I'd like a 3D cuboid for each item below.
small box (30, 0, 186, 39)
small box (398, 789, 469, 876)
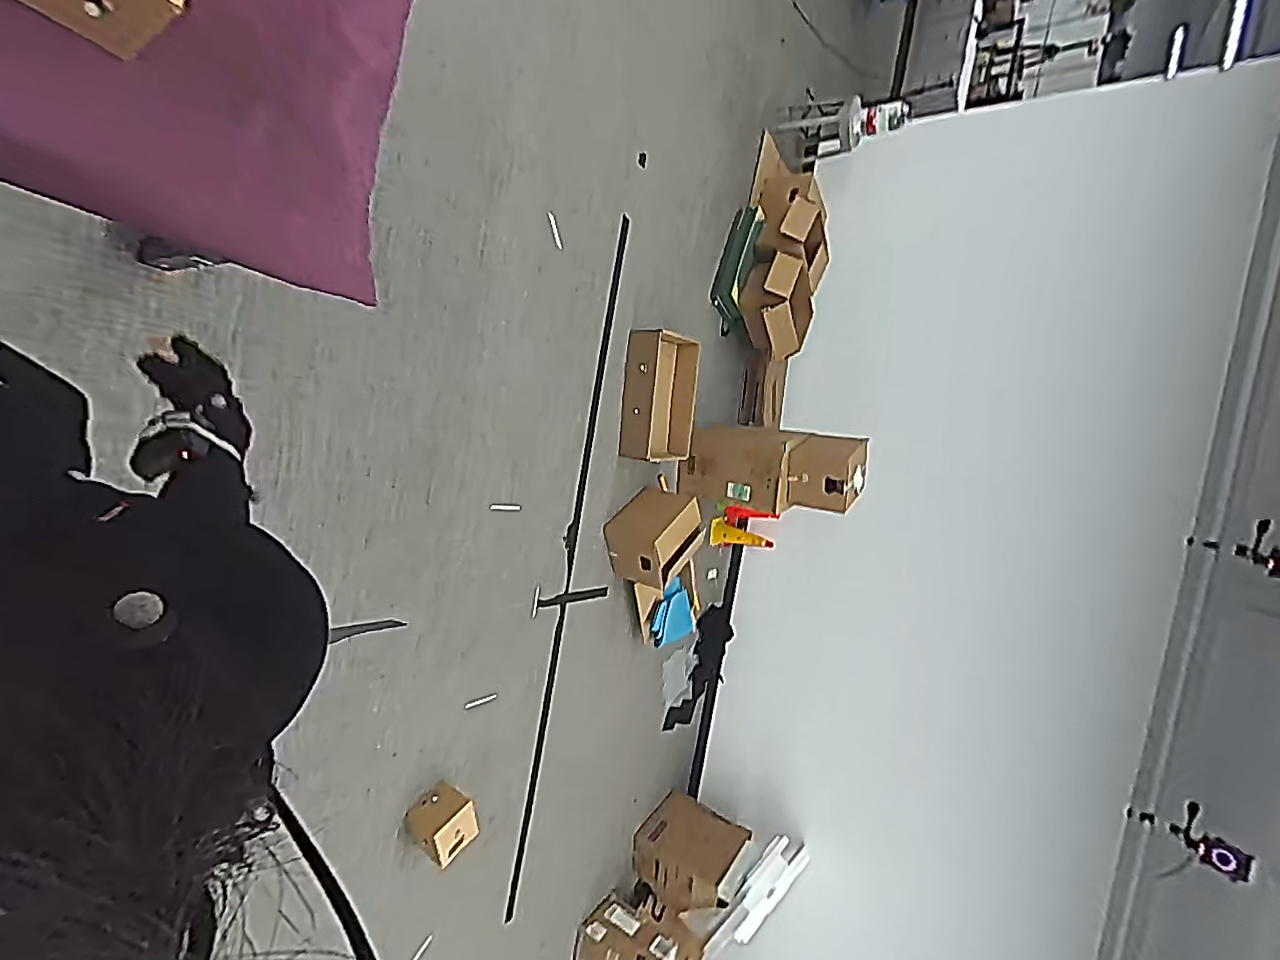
[{"bbox_3d":[-0.497,-0.518,0.449,0.179,0.176,0.168,12,87,-56],"label":"small box"},{"bbox_3d":[-0.759,1.286,1.988,0.168,0.176,0.179,-29,123,-50],"label":"small box"}]
